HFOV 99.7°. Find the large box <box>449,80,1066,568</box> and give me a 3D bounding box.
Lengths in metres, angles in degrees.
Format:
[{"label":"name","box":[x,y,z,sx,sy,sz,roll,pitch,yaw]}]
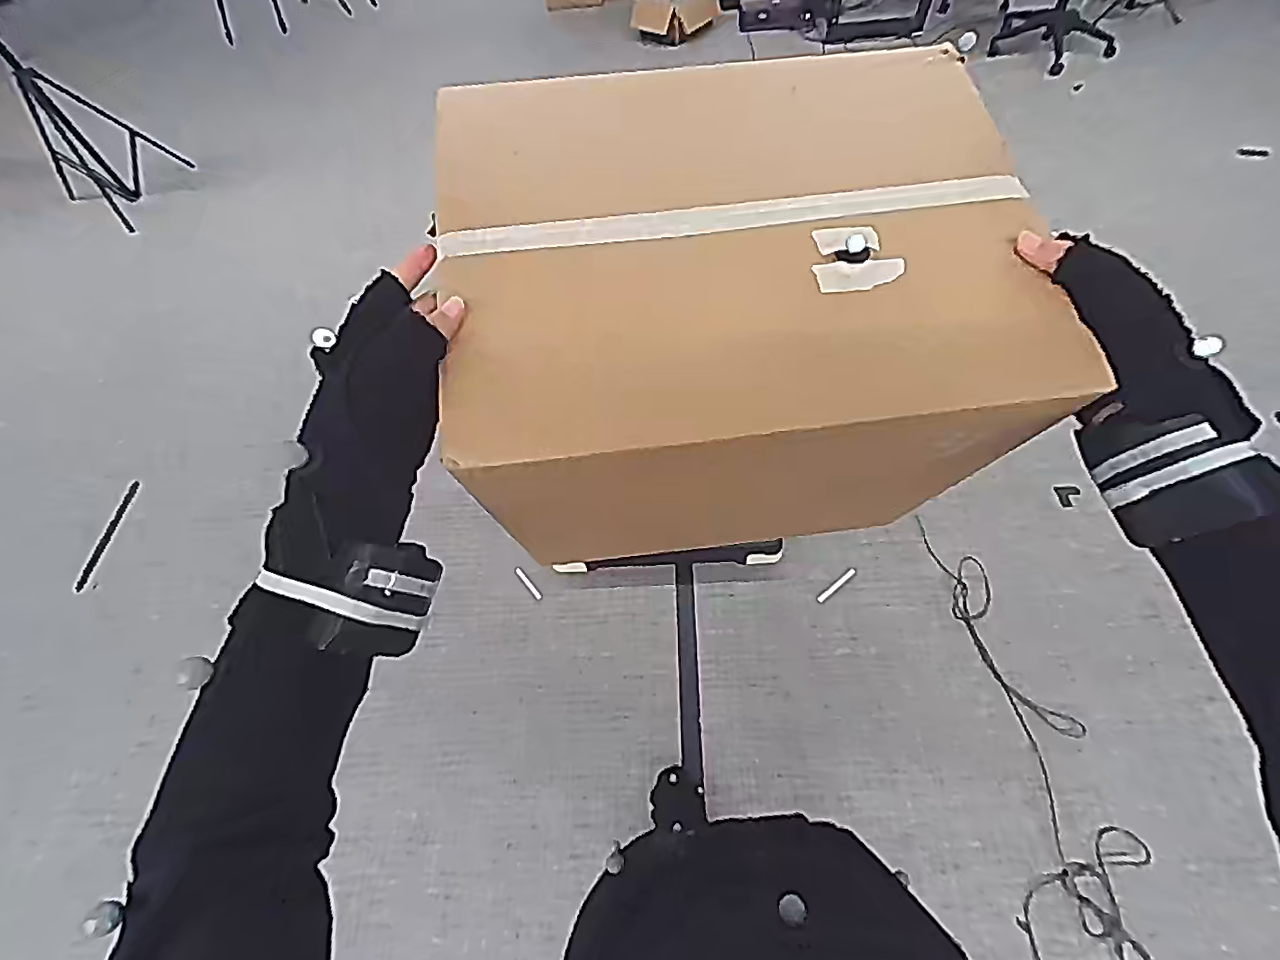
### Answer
[{"label":"large box","box":[0.061,-0.118,0.531,0.408,0.320,0.320,-7,70,-3]}]
